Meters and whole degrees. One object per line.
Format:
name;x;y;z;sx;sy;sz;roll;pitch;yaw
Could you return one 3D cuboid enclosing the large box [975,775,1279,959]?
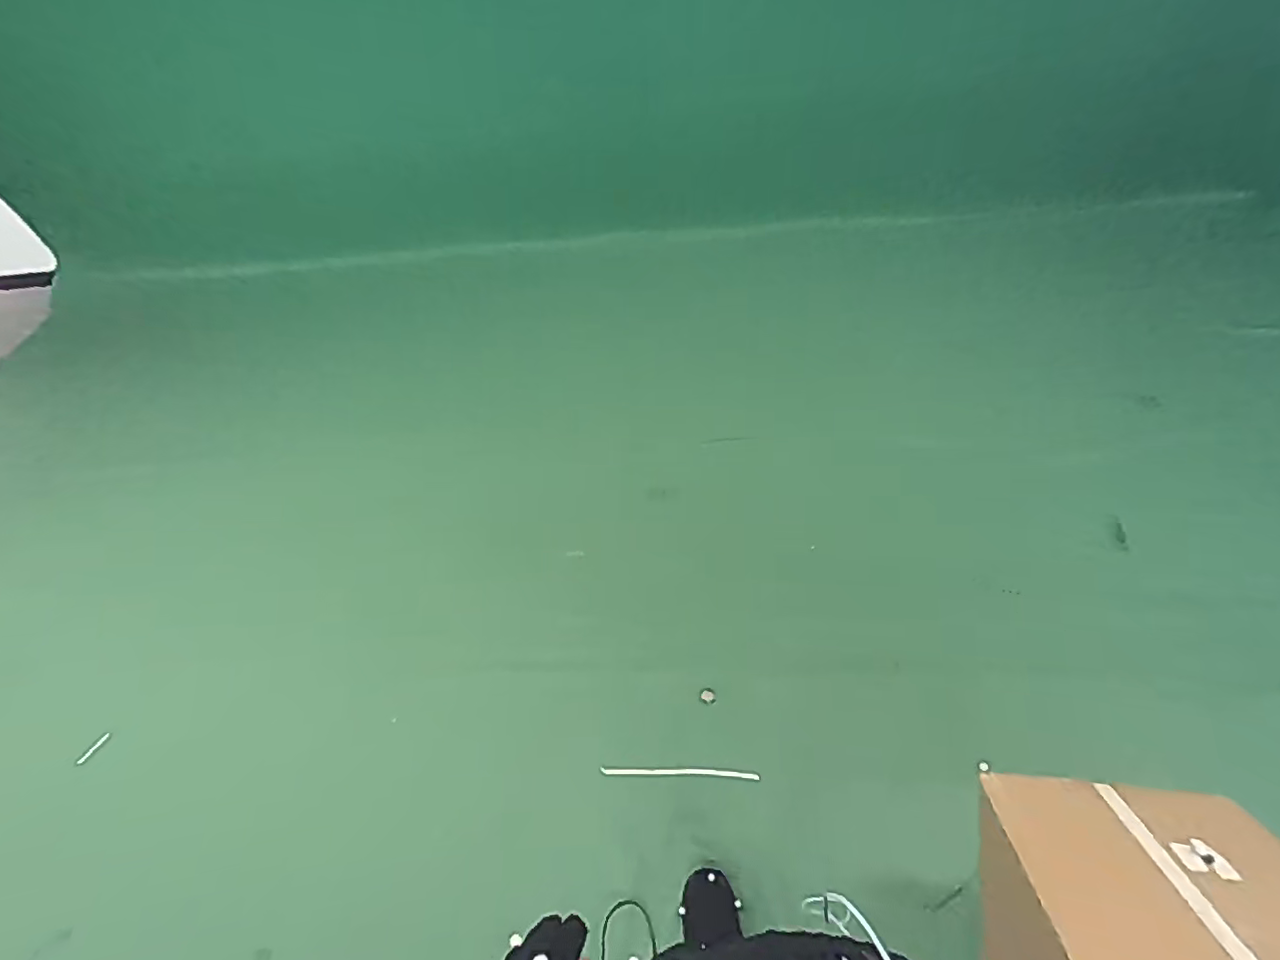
large box;0.621;0.618;0.616;0.320;0.408;0.320;-1;96;16
